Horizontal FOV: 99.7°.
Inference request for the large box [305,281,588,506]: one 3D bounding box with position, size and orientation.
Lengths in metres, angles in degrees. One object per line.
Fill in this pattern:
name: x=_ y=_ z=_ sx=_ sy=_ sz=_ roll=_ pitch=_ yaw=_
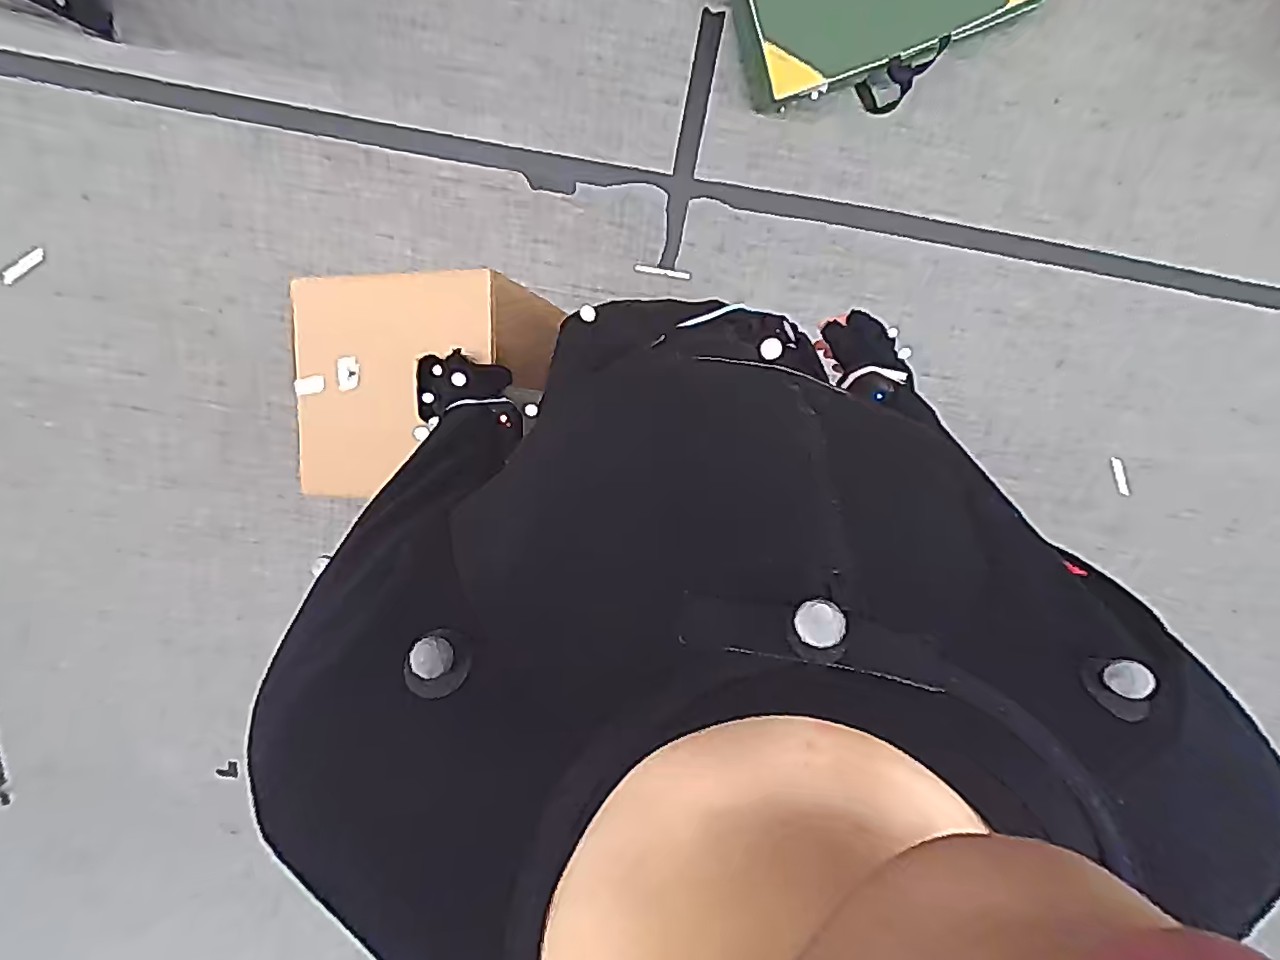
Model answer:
large box: x=-0.301 y=-0.148 z=0.951 sx=0.320 sy=0.408 sz=0.320 roll=5 pitch=97 yaw=11
